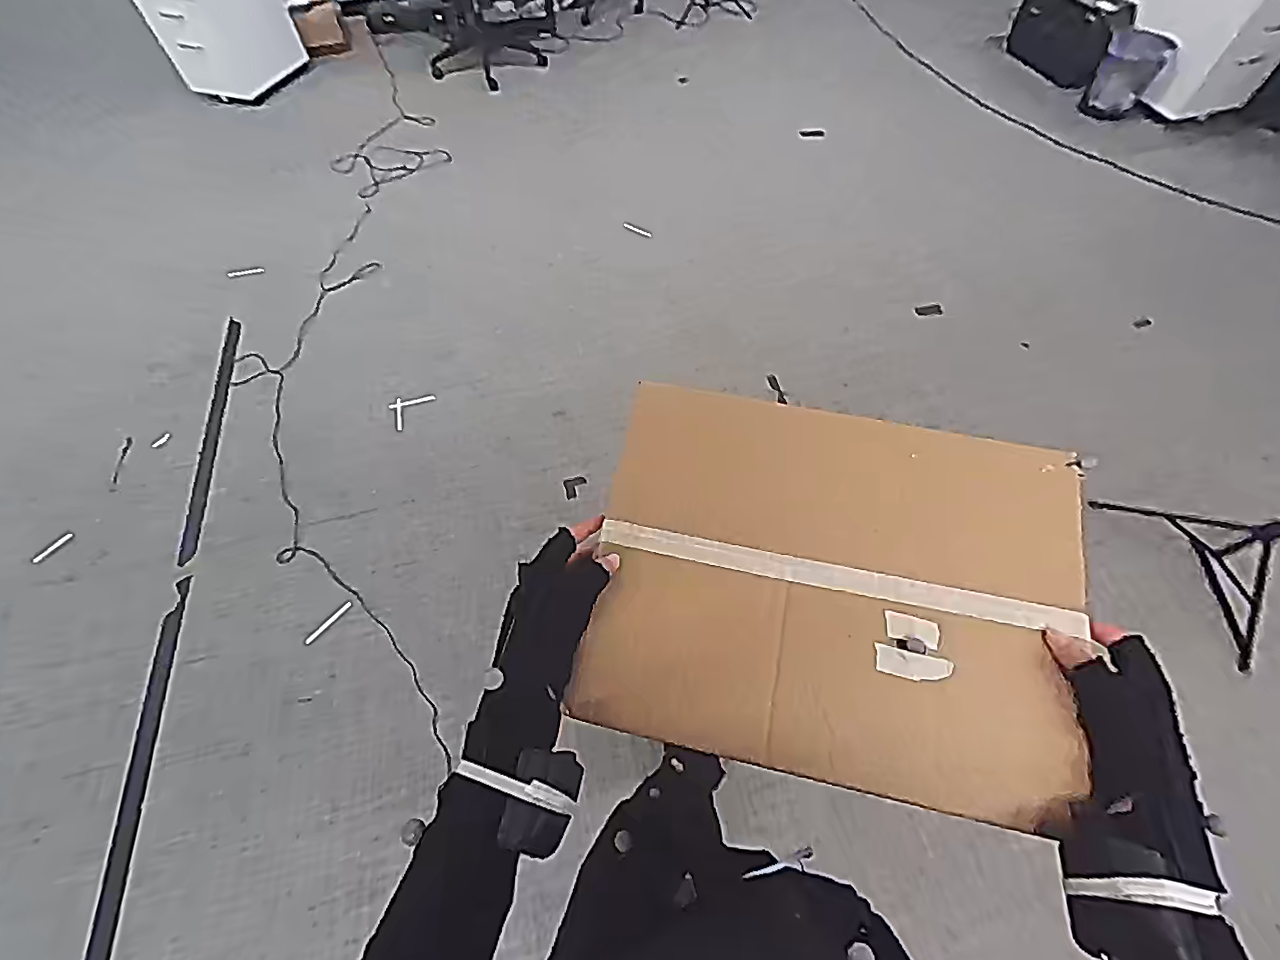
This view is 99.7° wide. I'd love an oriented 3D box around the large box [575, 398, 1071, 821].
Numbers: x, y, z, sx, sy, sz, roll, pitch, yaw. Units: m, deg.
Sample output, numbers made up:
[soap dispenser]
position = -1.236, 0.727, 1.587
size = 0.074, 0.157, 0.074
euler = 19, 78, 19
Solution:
[large box]
position = 0.172, 0.139, 0.623
size = 0.408, 0.320, 0.320
euler = 11, 72, 7
